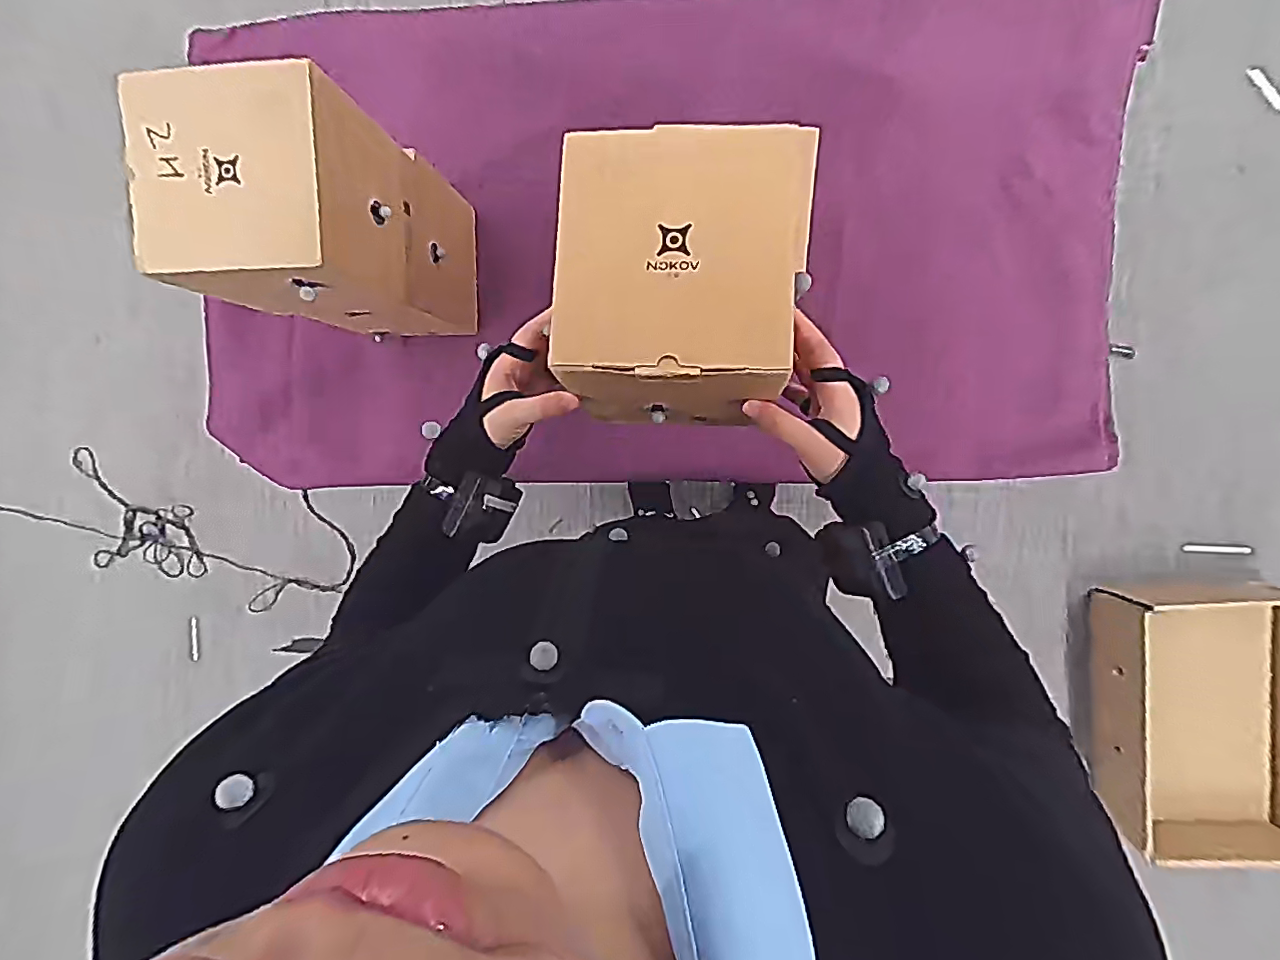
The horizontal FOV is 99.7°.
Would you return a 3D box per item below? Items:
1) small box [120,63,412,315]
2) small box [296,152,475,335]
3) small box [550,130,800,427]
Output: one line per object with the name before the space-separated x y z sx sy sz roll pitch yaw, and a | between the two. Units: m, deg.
small box | -0.340 -0.264 0.530 0.179 0.176 0.168 0 95 6
small box | -0.321 -0.286 0.693 0.168 0.176 0.179 1 94 5
small box | 0.031 -0.149 0.448 0.168 0.176 0.179 2 84 6
